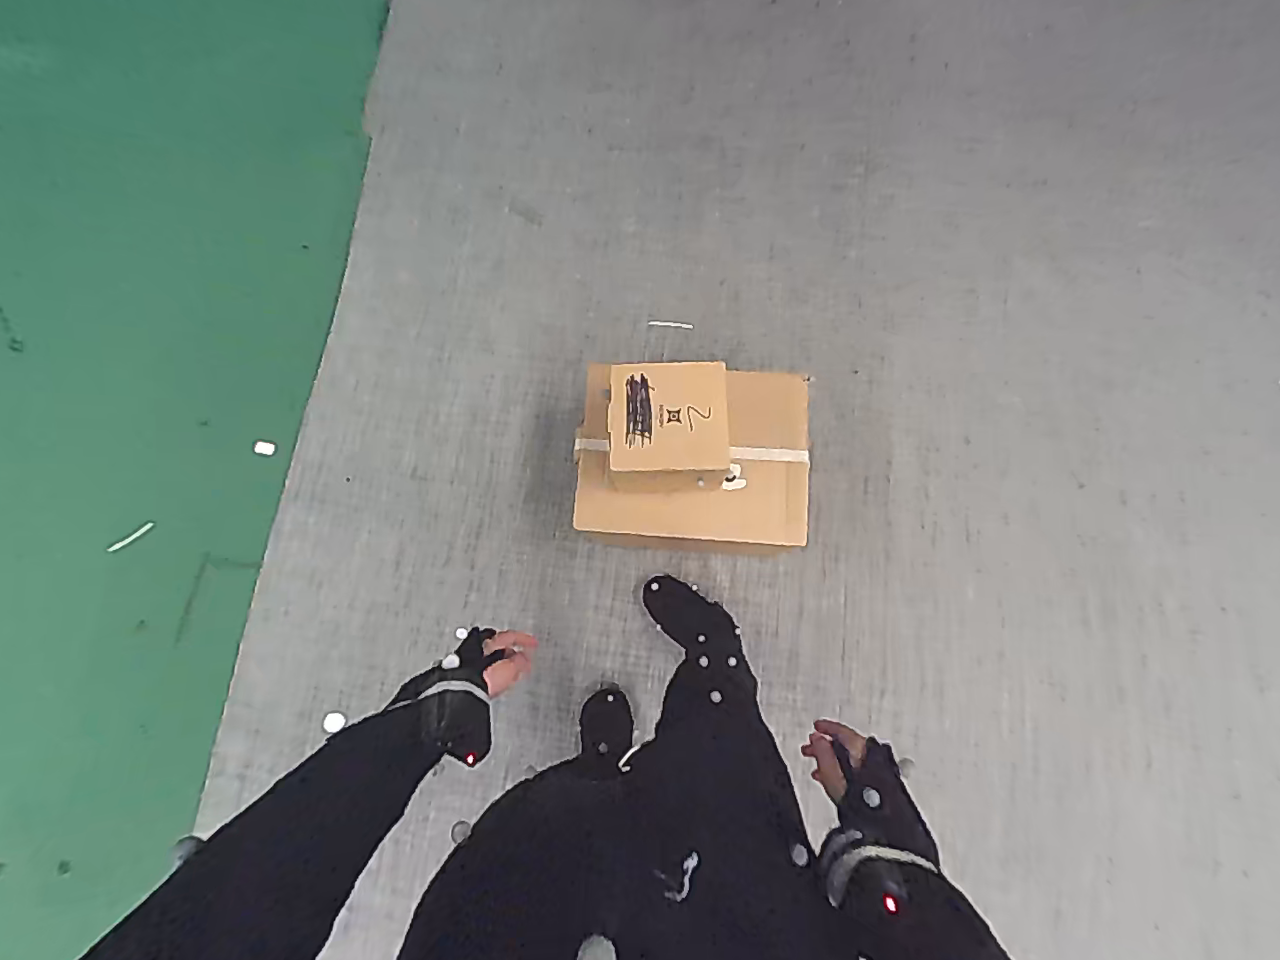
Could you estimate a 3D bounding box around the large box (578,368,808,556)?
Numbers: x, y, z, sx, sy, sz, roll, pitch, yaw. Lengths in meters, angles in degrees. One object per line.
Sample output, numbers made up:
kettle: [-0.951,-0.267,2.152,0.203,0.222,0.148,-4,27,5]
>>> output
large box: [0.101,-0.017,1.106,0.408,0.320,0.320,4,79,3]
